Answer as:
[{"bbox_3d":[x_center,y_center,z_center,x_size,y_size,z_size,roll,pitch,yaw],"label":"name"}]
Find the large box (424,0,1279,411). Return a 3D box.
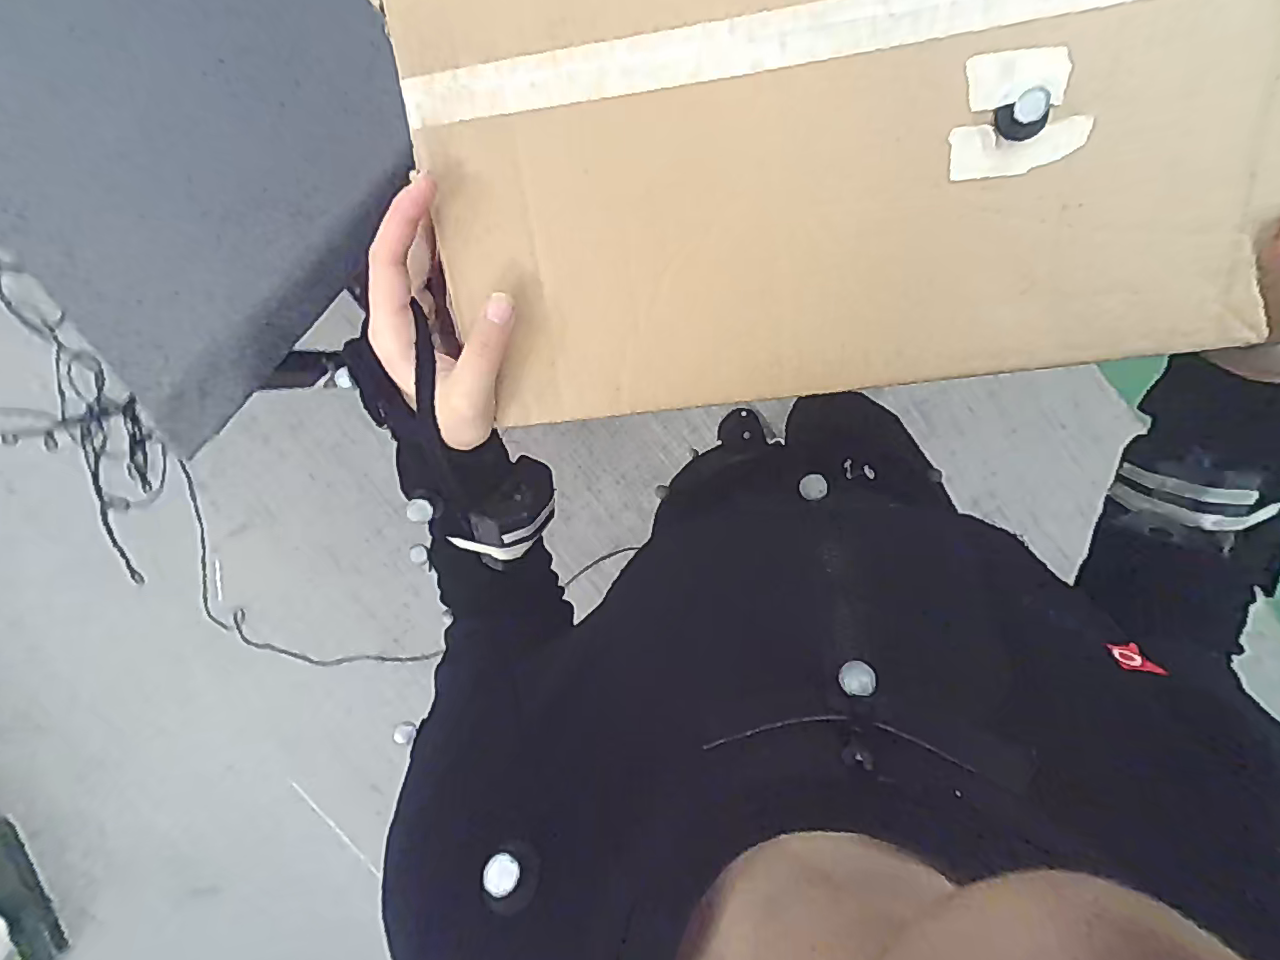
[{"bbox_3d":[0.107,-0.247,0.386,0.408,0.320,0.320,-6,107,5],"label":"large box"}]
